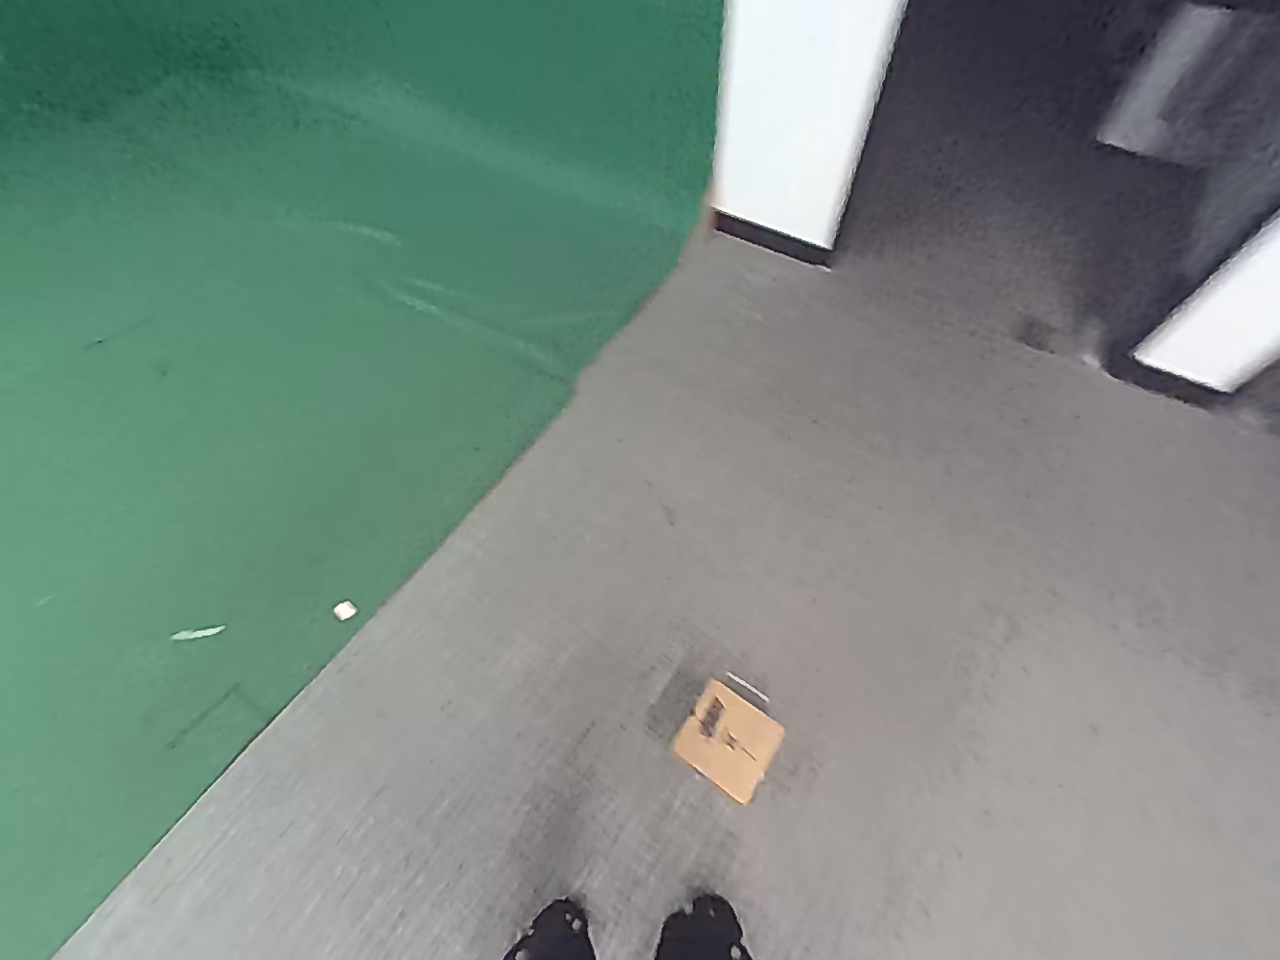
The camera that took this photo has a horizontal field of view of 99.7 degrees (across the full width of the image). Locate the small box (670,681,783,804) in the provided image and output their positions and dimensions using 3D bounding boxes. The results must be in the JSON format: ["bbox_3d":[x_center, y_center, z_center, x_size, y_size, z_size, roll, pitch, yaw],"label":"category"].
[{"bbox_3d":[0.179,0.567,1.163,0.179,0.176,0.168,31,67,19],"label":"small box"}]
